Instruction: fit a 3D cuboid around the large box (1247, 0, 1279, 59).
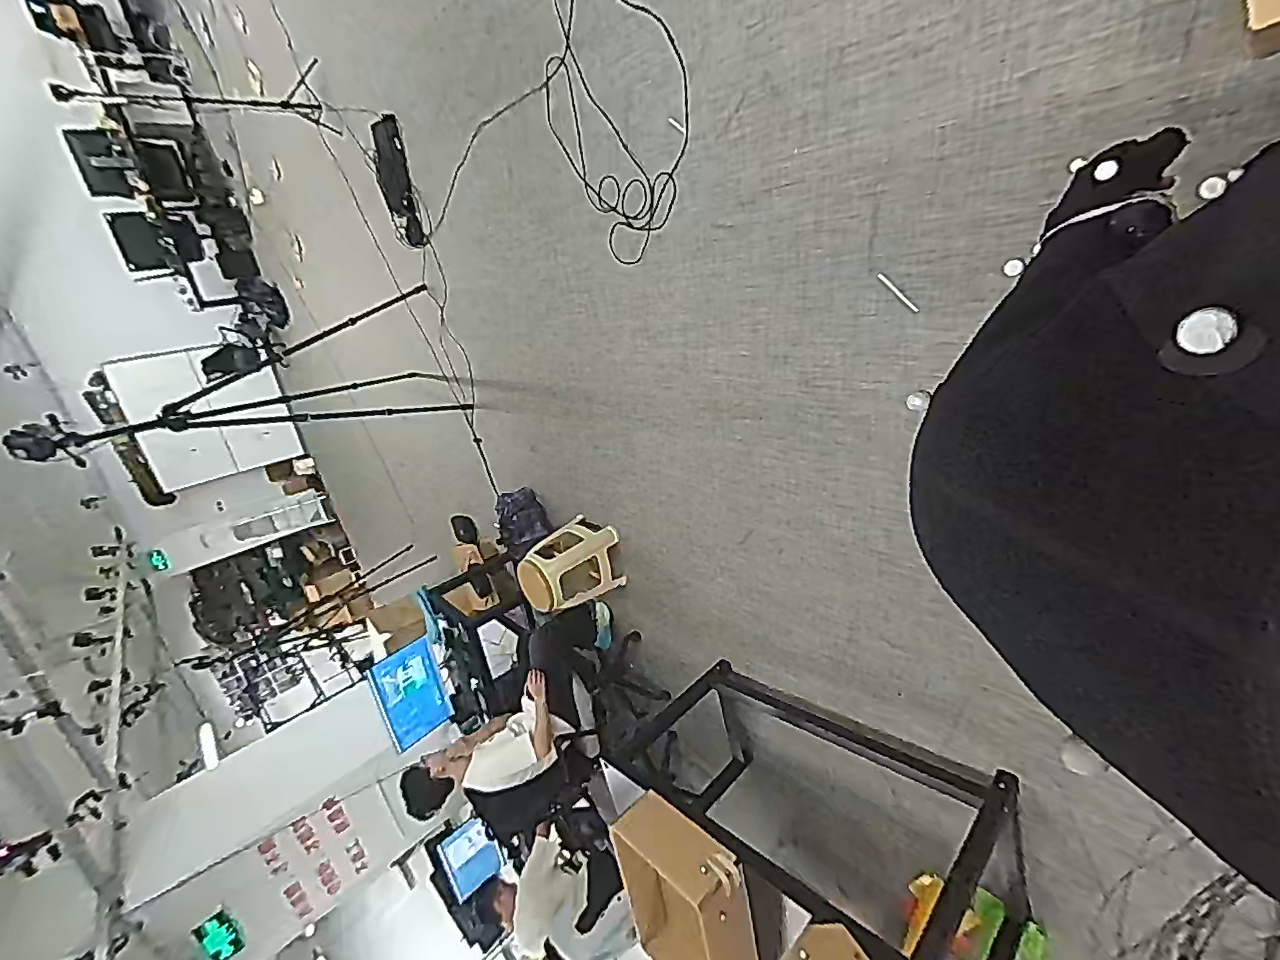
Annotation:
[{"bbox_3d":[0.990,-0.791,0.621,0.408,0.320,0.320,-4,108,49],"label":"large box"}]
